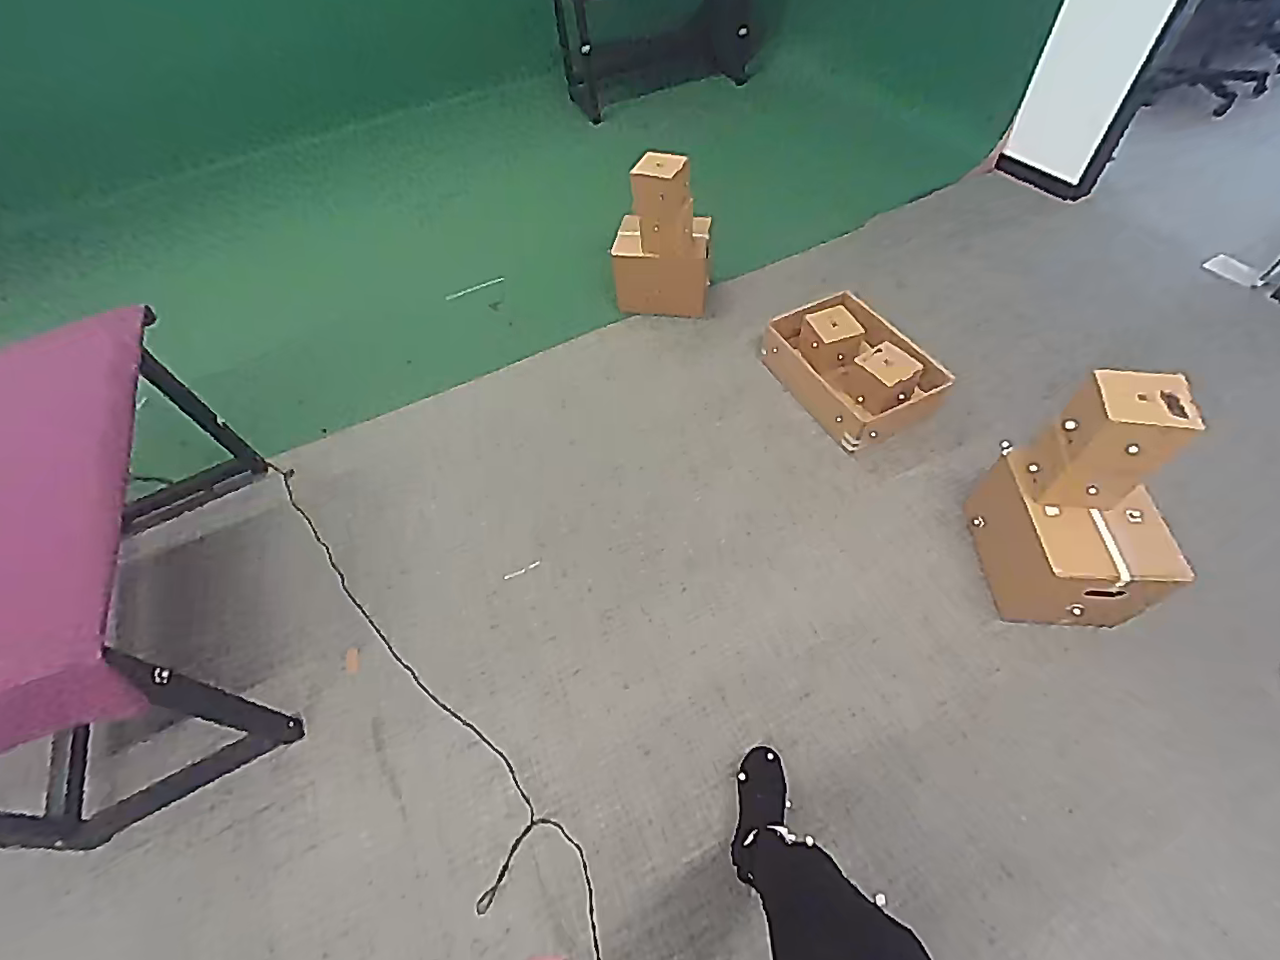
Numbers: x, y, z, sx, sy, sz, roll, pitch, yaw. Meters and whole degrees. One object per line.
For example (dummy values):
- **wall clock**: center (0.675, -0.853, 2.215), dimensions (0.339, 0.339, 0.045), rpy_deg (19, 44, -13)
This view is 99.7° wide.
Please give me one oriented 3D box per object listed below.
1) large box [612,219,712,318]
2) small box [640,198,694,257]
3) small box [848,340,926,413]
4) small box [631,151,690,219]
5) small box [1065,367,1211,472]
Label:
- **large box**: center (0.118, -0.966, 2.471), dimensions (0.408, 0.320, 0.320), rpy_deg (6, 55, 12)
- **small box**: center (0.119, -1.047, 2.229), dimensions (0.179, 0.176, 0.168), rpy_deg (16, 60, 18)
- **small box**: center (0.890, -0.367, 1.962), dimensions (0.168, 0.176, 0.179), rpy_deg (-29, 56, -12)
- **small box**: center (0.086, -1.140, 2.098), dimensions (0.179, 0.176, 0.168), rpy_deg (19, 60, 20)
- **small box**: center (1.129, -0.136, 1.242), dimensions (0.179, 0.176, 0.168), rpy_deg (8, 56, 15)
